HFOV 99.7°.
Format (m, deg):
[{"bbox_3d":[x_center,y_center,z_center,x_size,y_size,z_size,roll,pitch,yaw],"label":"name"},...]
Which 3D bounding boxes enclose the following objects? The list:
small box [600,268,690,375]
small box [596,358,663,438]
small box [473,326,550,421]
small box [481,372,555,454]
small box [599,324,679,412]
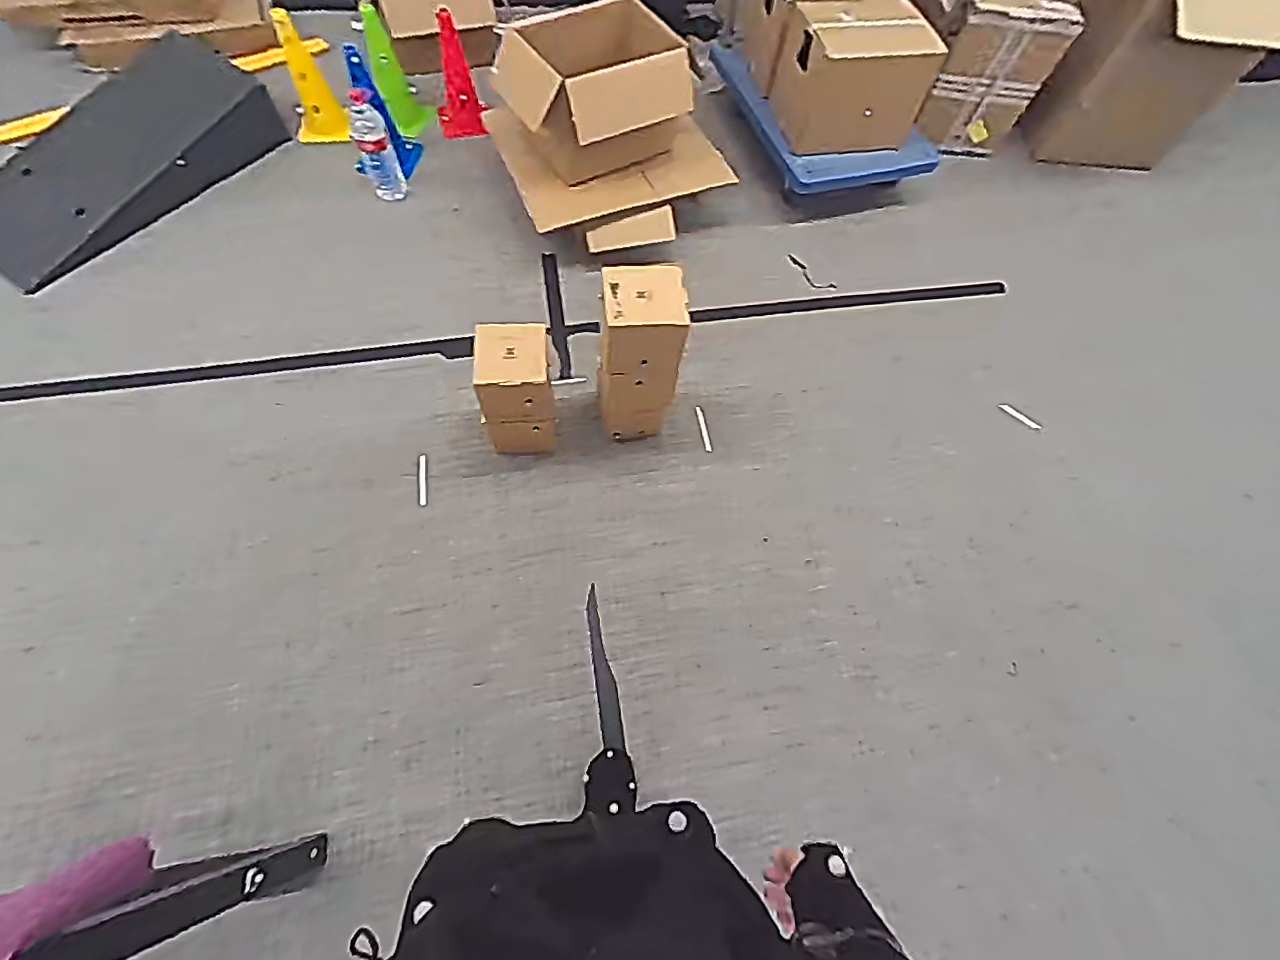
[{"bbox_3d":[0.004,-0.352,1.219,0.179,0.176,0.168,-3,66,-8],"label":"small box"},{"bbox_3d":[-0.031,-0.231,1.523,0.168,0.176,0.179,-8,65,-9],"label":"small box"},{"bbox_3d":[-0.311,-0.255,1.332,0.168,0.176,0.179,-3,64,-8],"label":"small box"},{"bbox_3d":[-0.327,-0.179,1.474,0.179,0.176,0.168,-2,65,-6],"label":"small box"},{"bbox_3d":[-0.010,-0.286,1.368,0.179,0.176,0.168,-6,66,-9],"label":"small box"}]
